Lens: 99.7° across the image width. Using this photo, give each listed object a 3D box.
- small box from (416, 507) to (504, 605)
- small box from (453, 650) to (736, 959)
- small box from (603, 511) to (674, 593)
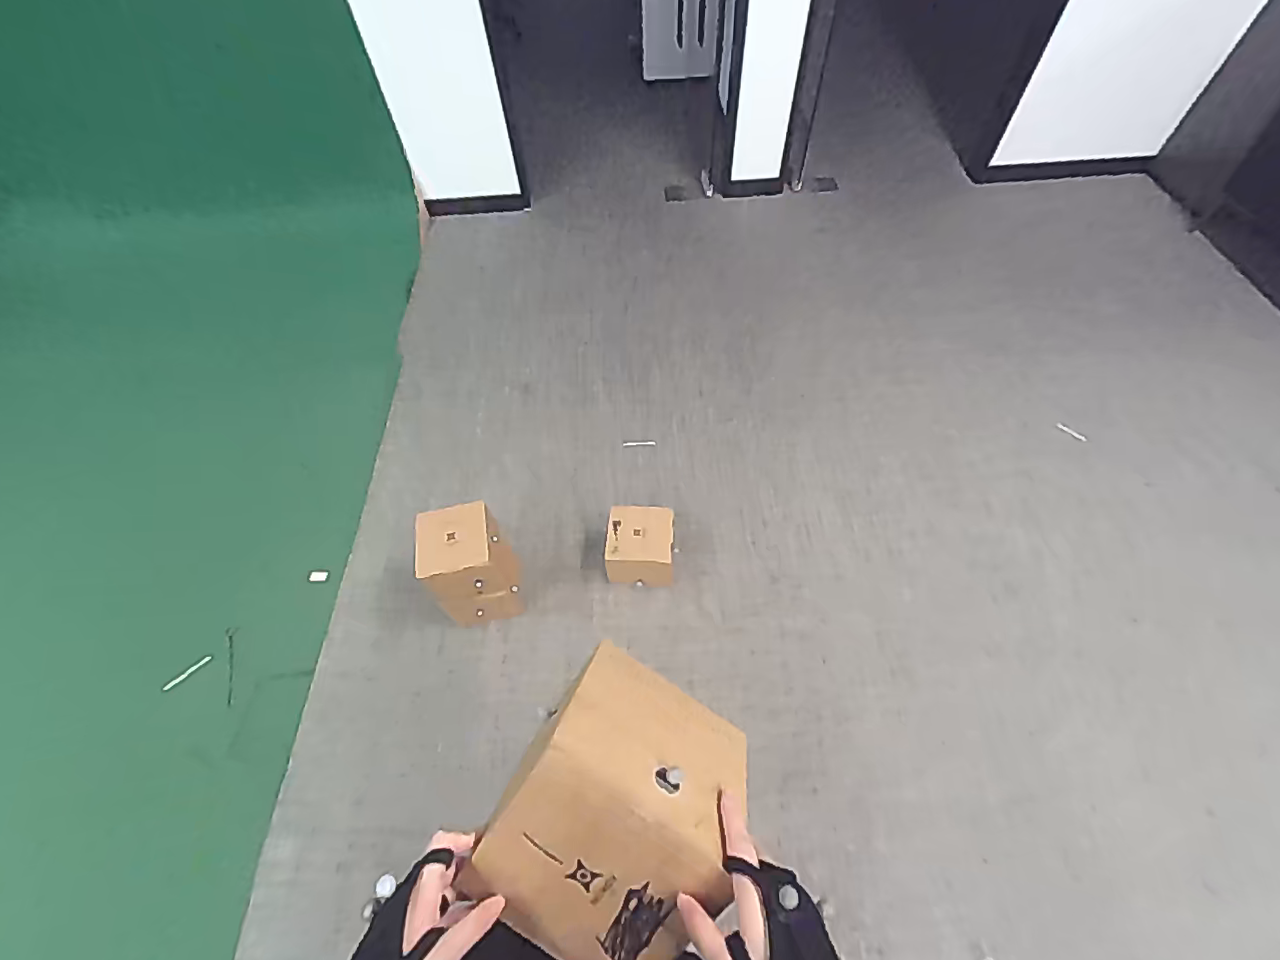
[{"bbox_3d":[-0.437,0.194,1.330,0.168,0.176,0.179,-11,56,-6],"label":"small box"},{"bbox_3d":[-0.027,0.292,0.497,0.179,0.176,0.168,34,105,3],"label":"small box"},{"bbox_3d":[0.000,0.204,1.503,0.179,0.176,0.168,3,56,4],"label":"small box"}]
